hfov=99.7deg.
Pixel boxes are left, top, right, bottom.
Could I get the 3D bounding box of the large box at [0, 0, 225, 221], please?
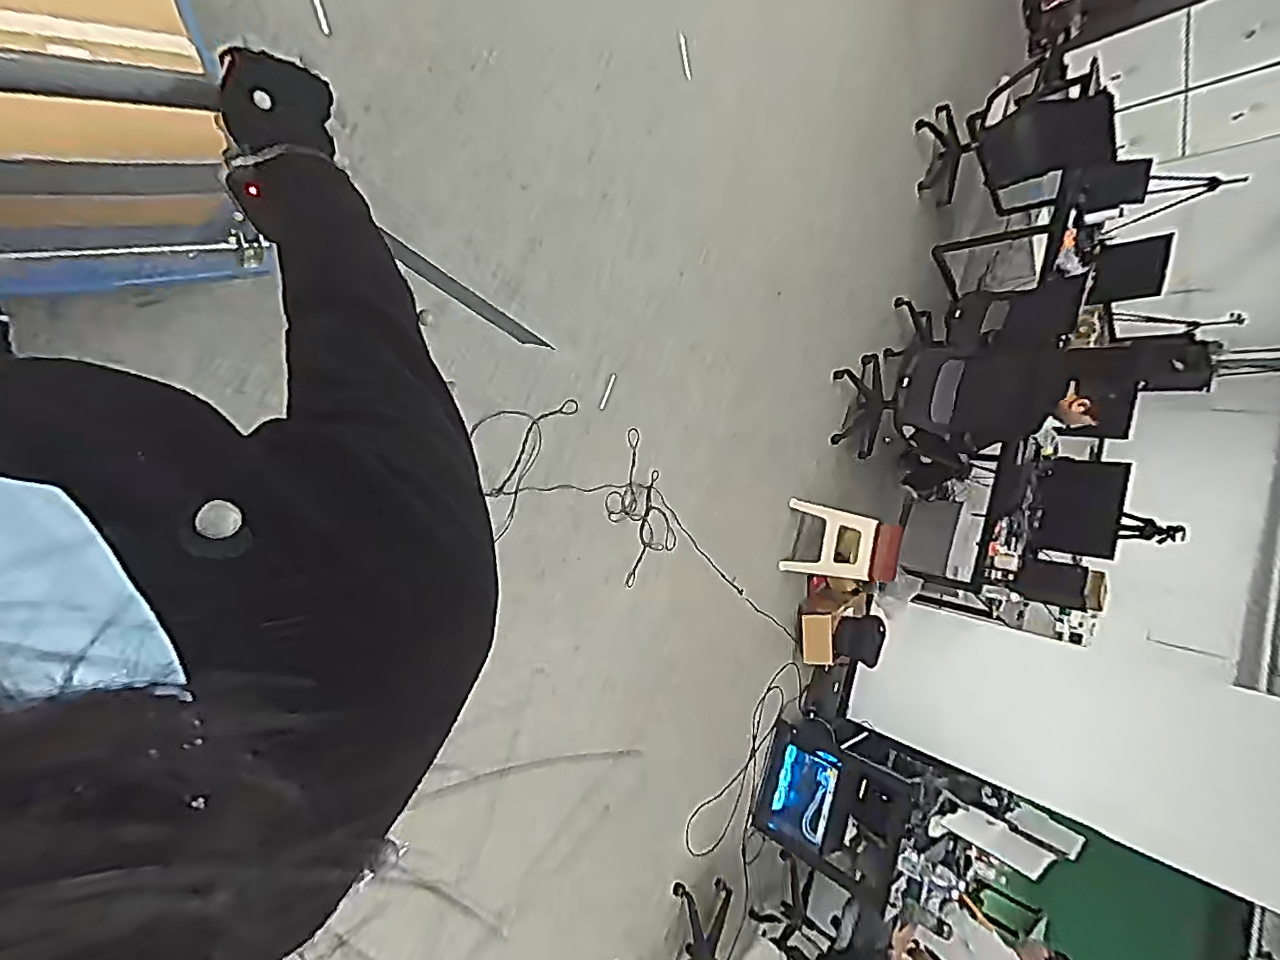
[{"bbox_3d":[-0.884,-0.555,0.736,0.408,0.320,0.320,-26,114,-41],"label":"large box"}]
